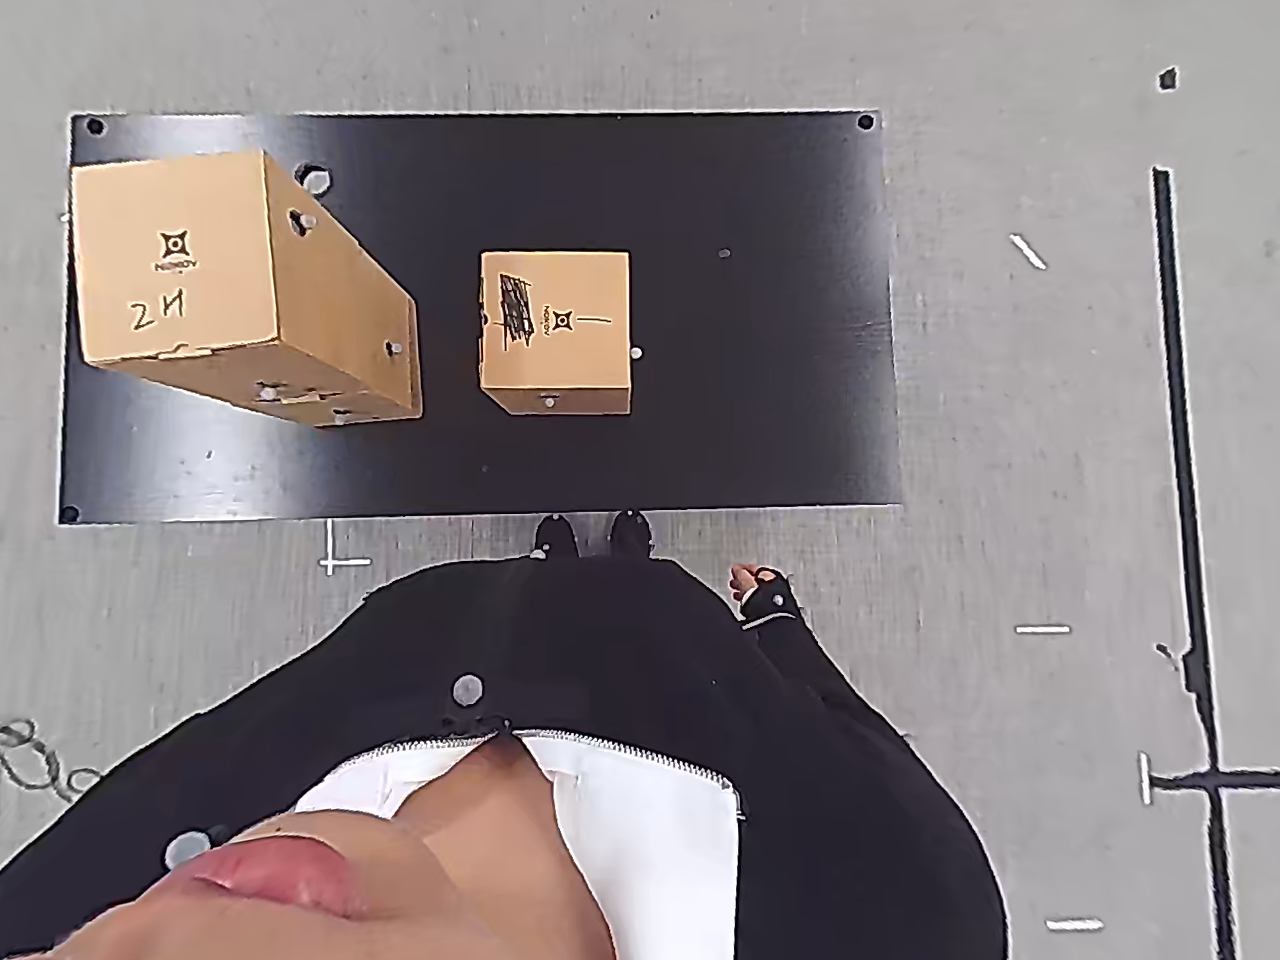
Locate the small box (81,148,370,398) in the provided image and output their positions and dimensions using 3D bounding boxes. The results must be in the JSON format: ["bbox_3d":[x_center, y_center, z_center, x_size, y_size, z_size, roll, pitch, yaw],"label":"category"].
[{"bbox_3d":[-0.398,-0.193,0.547,0.168,0.176,0.179,-7,87,-1],"label":"small box"}]

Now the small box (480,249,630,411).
[{"bbox_3d":[-0.102,-0.187,0.718,0.179,0.176,0.168,0,86,-2],"label":"small box"}]

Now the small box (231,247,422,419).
[{"bbox_3d":[-0.402,-0.179,0.712,0.168,0.176,0.179,-5,87,-1],"label":"small box"}]
